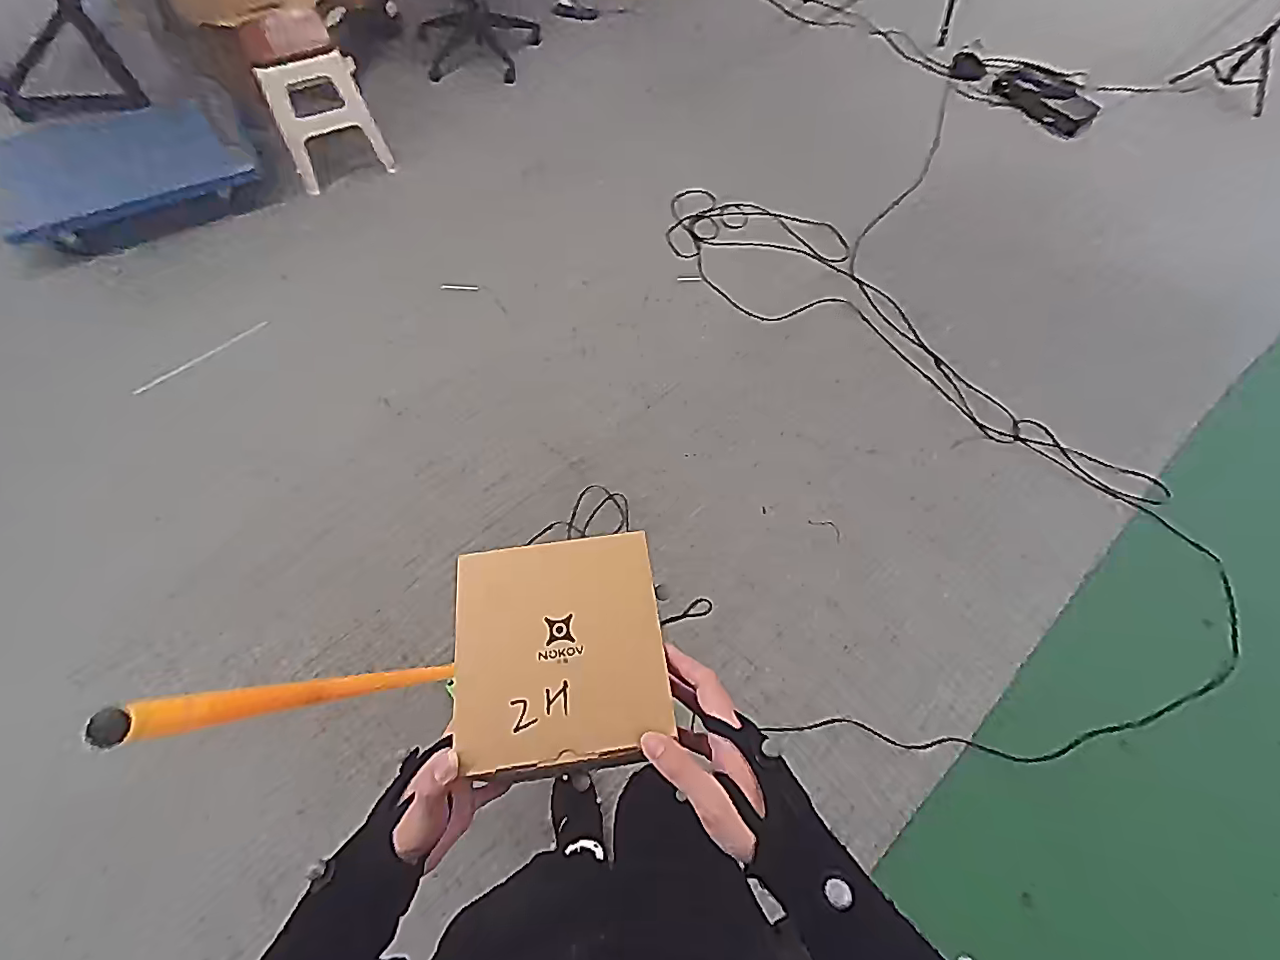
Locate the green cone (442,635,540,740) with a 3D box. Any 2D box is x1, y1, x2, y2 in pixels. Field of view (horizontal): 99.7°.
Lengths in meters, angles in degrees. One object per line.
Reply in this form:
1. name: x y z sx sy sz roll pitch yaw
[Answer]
1. green cone: -0.383 0.463 1.266 0.202 0.368 0.200 -37 71 -19
